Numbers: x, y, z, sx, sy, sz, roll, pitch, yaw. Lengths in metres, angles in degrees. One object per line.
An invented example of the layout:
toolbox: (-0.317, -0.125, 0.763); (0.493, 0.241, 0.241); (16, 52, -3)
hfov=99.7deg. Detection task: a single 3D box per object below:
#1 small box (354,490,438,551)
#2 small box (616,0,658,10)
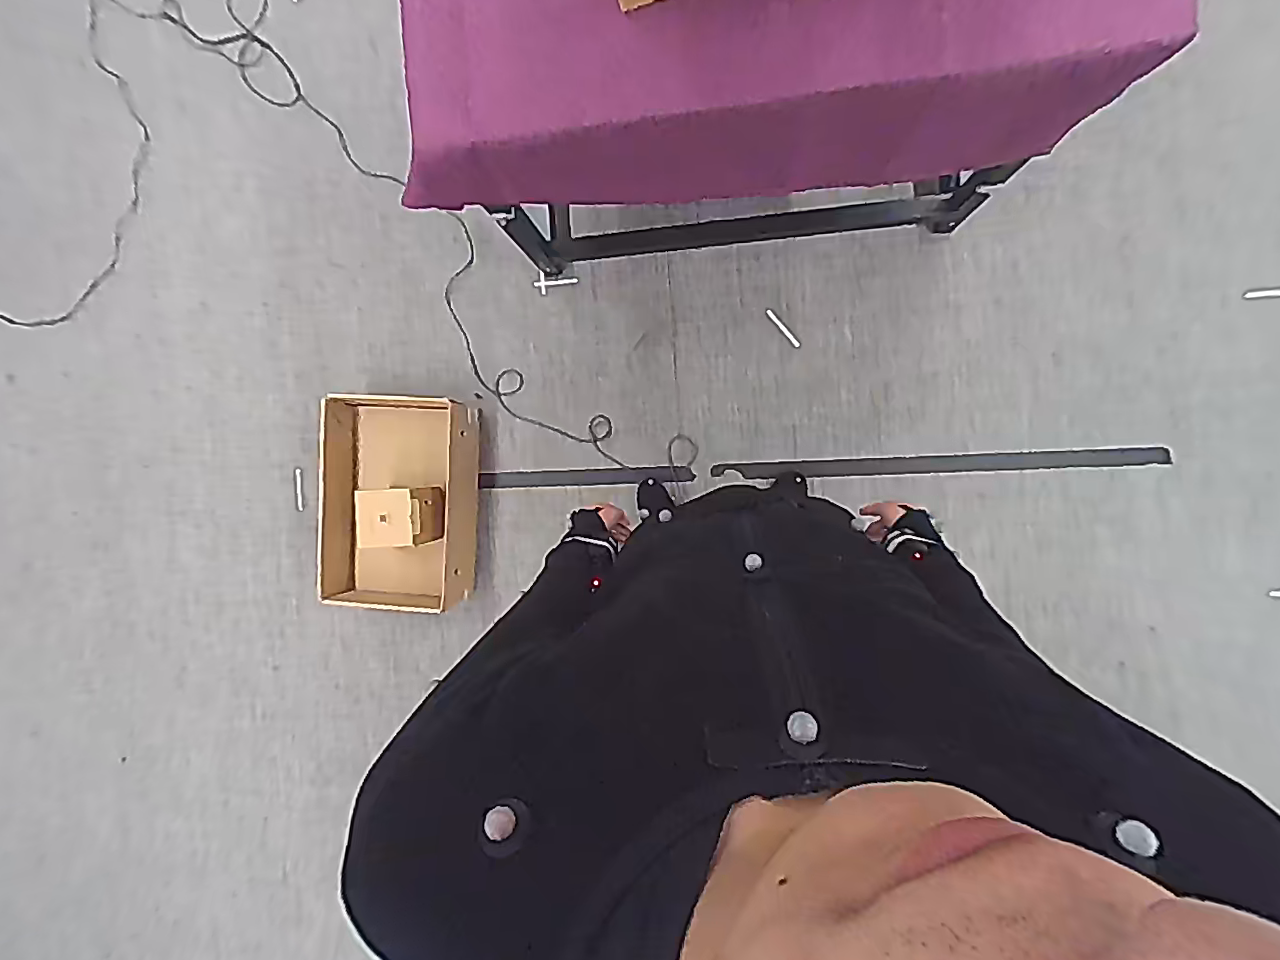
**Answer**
small box: (-0.715, 0.116, 1.604); (0.179, 0.176, 0.168); (-2, 90, 7)
small box: (0.022, -0.855, 0.798); (0.179, 0.176, 0.168); (-13, 91, 7)
